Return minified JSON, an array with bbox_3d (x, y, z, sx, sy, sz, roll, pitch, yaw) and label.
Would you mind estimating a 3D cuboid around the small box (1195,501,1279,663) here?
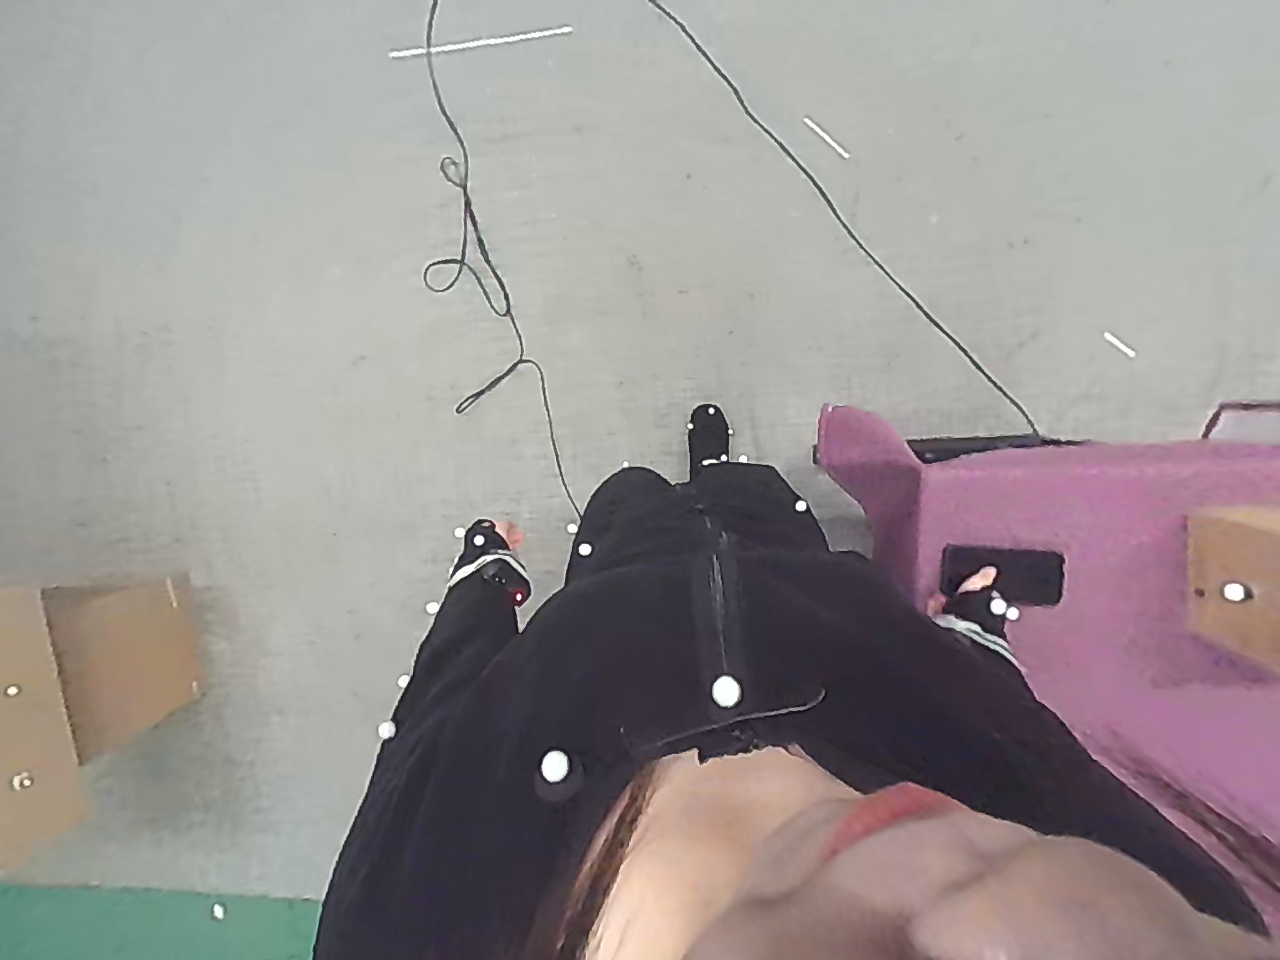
[{"bbox_3d":[0.788,0.119,0.608,0.179,0.176,0.168,-6,98,8],"label":"small box"}]
